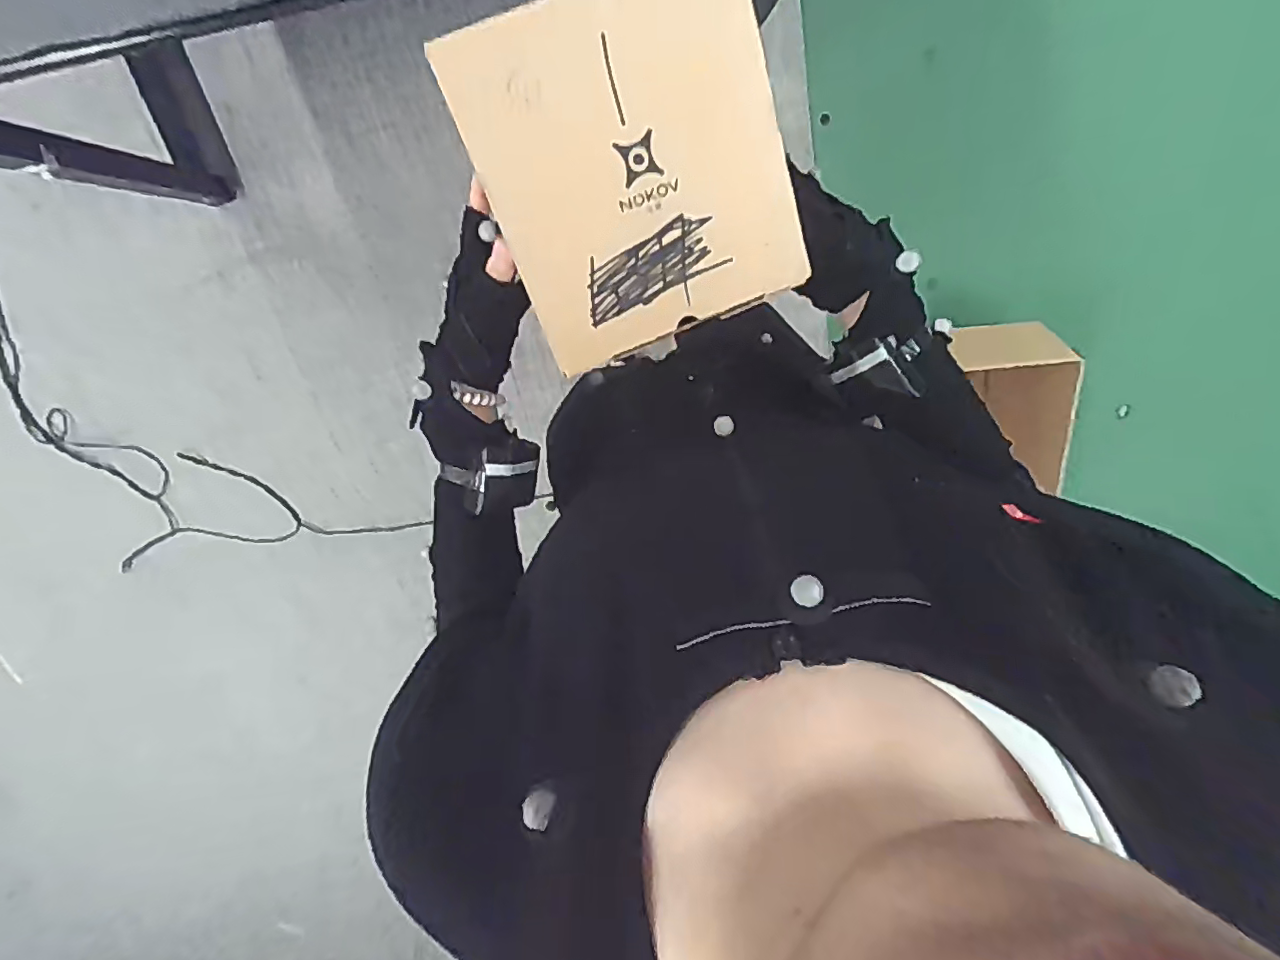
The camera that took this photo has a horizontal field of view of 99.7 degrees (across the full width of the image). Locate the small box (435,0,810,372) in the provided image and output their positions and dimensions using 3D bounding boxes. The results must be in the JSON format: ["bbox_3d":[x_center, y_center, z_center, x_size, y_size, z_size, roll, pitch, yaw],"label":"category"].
[{"bbox_3d":[-0.011,-0.197,0.369,0.168,0.176,0.179,-23,114,-3],"label":"small box"}]
